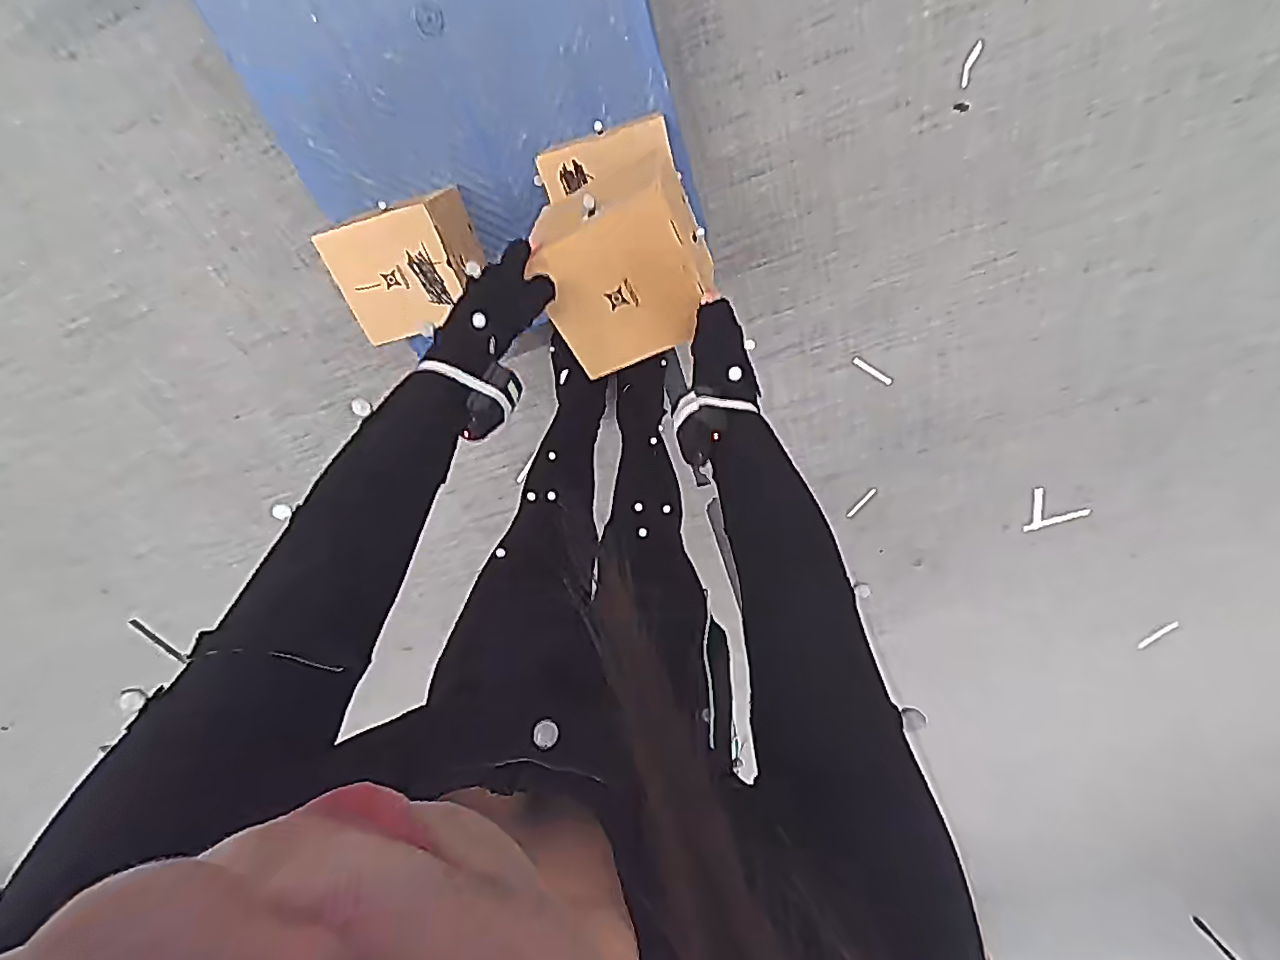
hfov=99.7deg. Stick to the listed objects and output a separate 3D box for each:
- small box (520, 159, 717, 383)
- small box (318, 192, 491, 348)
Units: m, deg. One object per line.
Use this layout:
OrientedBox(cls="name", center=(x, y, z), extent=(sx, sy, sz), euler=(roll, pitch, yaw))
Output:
OrientedBox(cls="small box", center=(-0.016, -0.256, 0.666), extent=(0.179, 0.176, 0.168), euler=(-19, 131, 21))
OrientedBox(cls="small box", center=(-0.348, -0.334, 0.849), extent=(0.179, 0.176, 0.168), euler=(-12, 125, 8))
